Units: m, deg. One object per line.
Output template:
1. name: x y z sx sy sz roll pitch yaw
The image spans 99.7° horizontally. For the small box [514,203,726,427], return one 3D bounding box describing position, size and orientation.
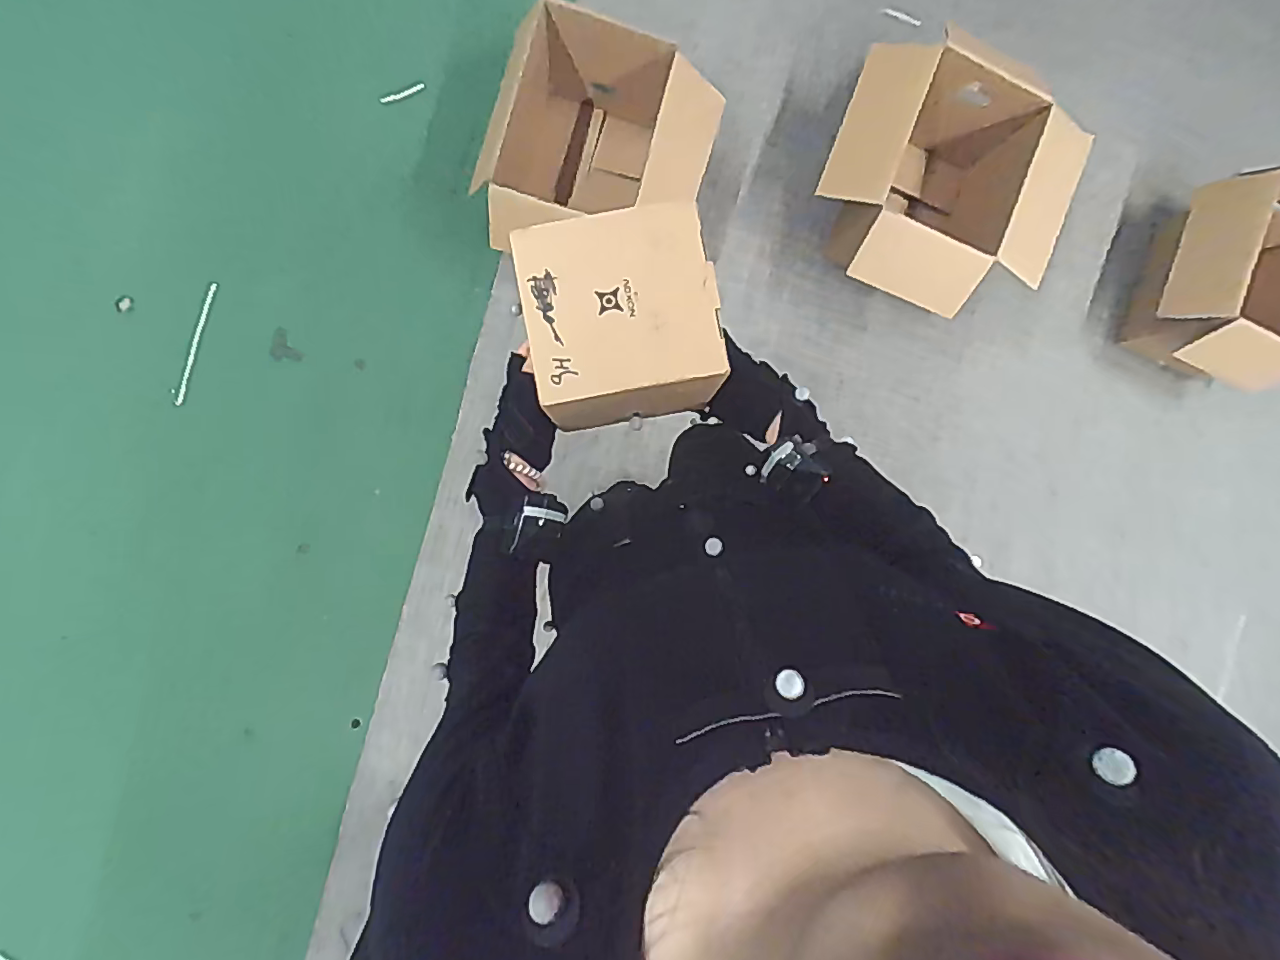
1. small box: -0.022 -0.159 0.572 0.179 0.176 0.168 -10 86 -2
